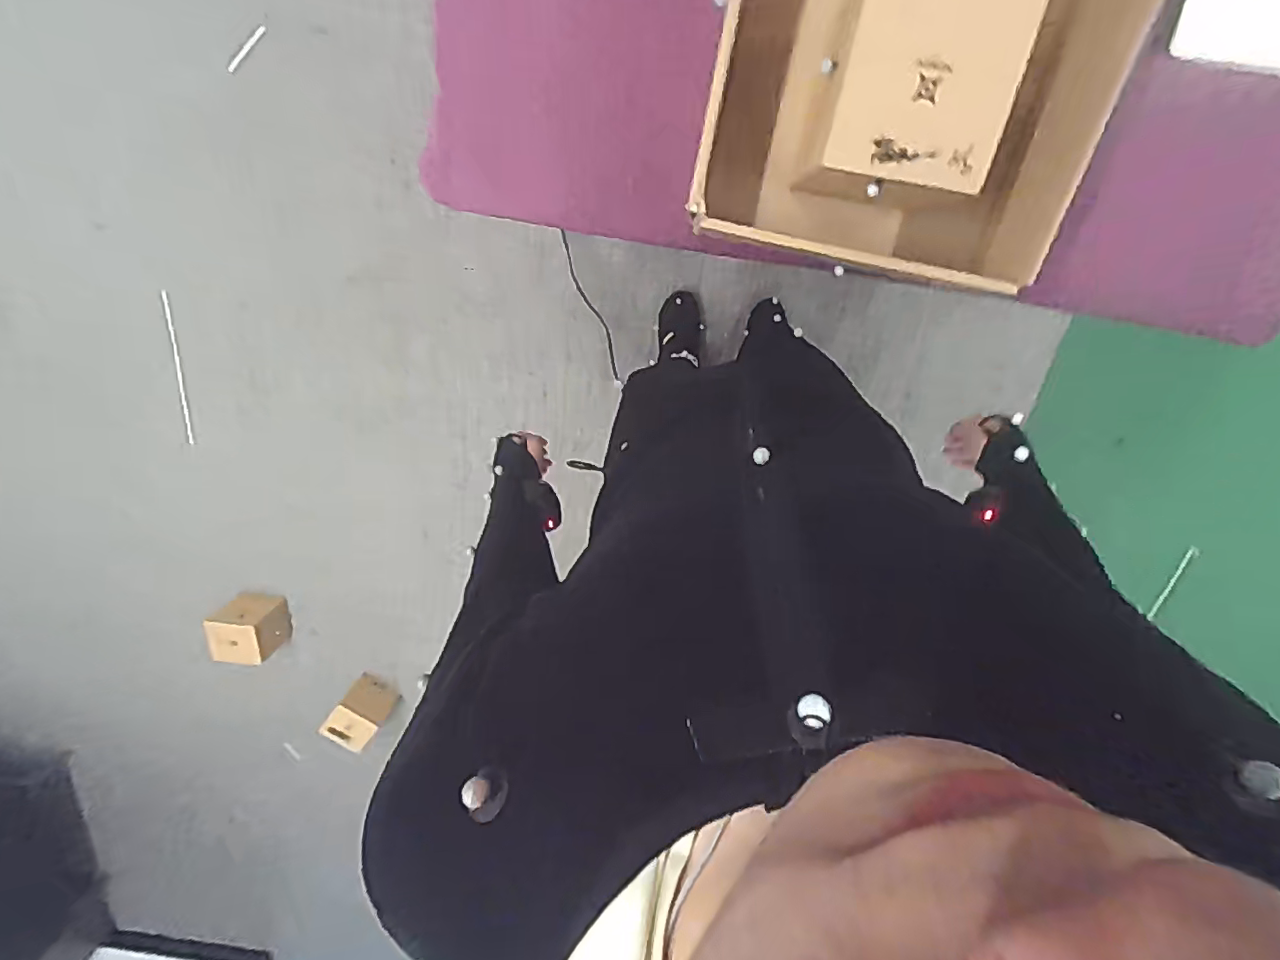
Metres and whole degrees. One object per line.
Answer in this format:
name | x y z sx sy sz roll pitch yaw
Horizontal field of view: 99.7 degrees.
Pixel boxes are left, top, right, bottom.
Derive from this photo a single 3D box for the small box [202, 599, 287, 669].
small box | -1.366 0.532 1.886 0.179 0.176 0.168 7 110 1
